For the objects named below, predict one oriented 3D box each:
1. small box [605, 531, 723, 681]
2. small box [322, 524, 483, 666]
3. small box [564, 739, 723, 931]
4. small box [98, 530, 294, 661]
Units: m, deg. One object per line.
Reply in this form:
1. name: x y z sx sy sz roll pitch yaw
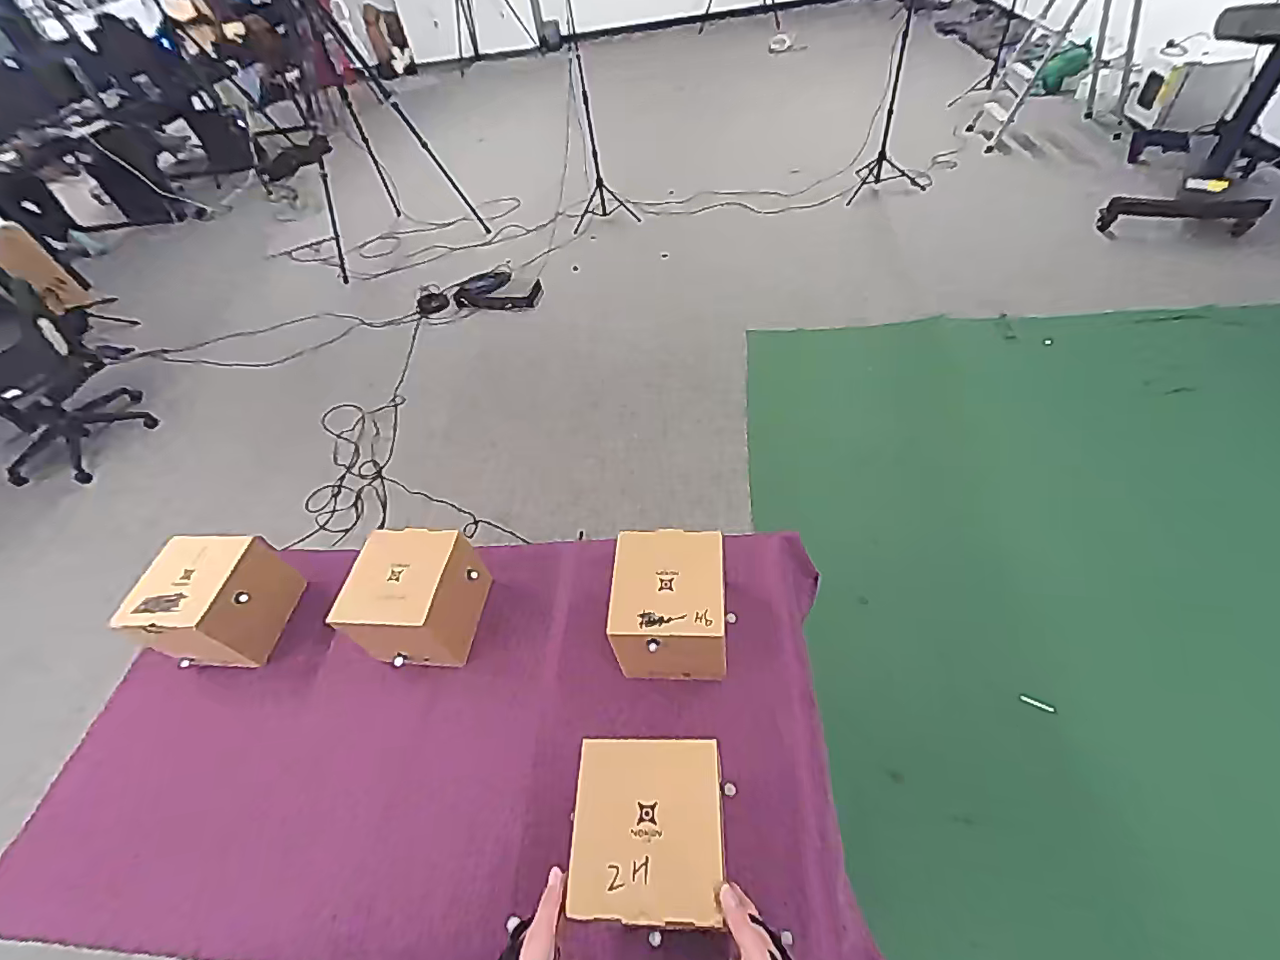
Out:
1. small box: 0.047 0.198 0.854 0.168 0.176 0.179 -1 51 8
2. small box: -0.385 0.195 0.918 0.168 0.176 0.179 1 52 9
3. small box: 0.015 0.434 0.662 0.168 0.176 0.179 -3 51 8
4. small box: -0.761 0.206 0.955 0.168 0.176 0.179 0 52 7
